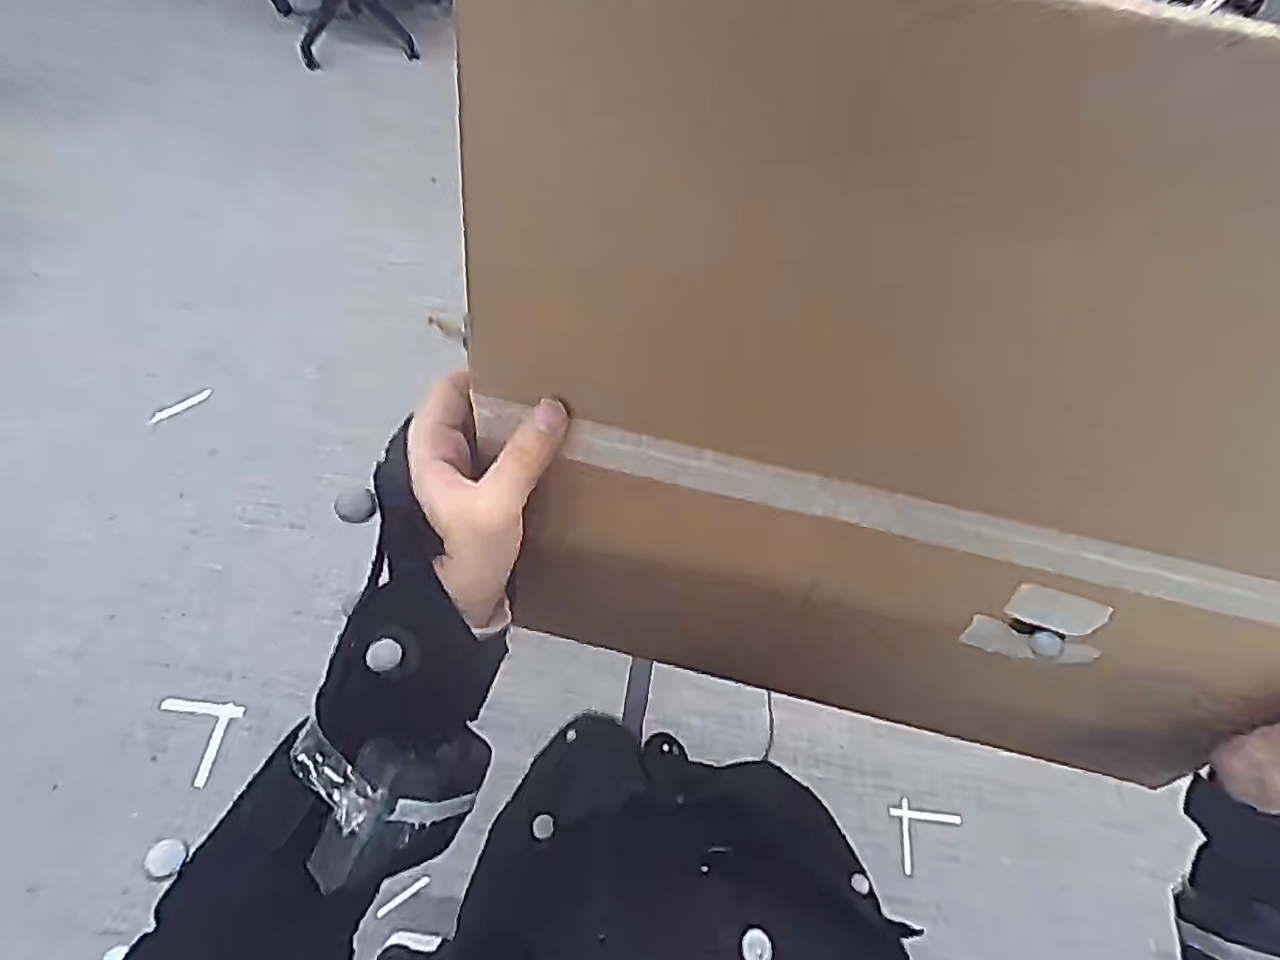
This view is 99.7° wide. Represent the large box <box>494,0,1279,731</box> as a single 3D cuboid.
[{"bbox_3d":[0.157,-0.103,0.340,0.408,0.320,0.320,12,40,2],"label":"large box"}]
